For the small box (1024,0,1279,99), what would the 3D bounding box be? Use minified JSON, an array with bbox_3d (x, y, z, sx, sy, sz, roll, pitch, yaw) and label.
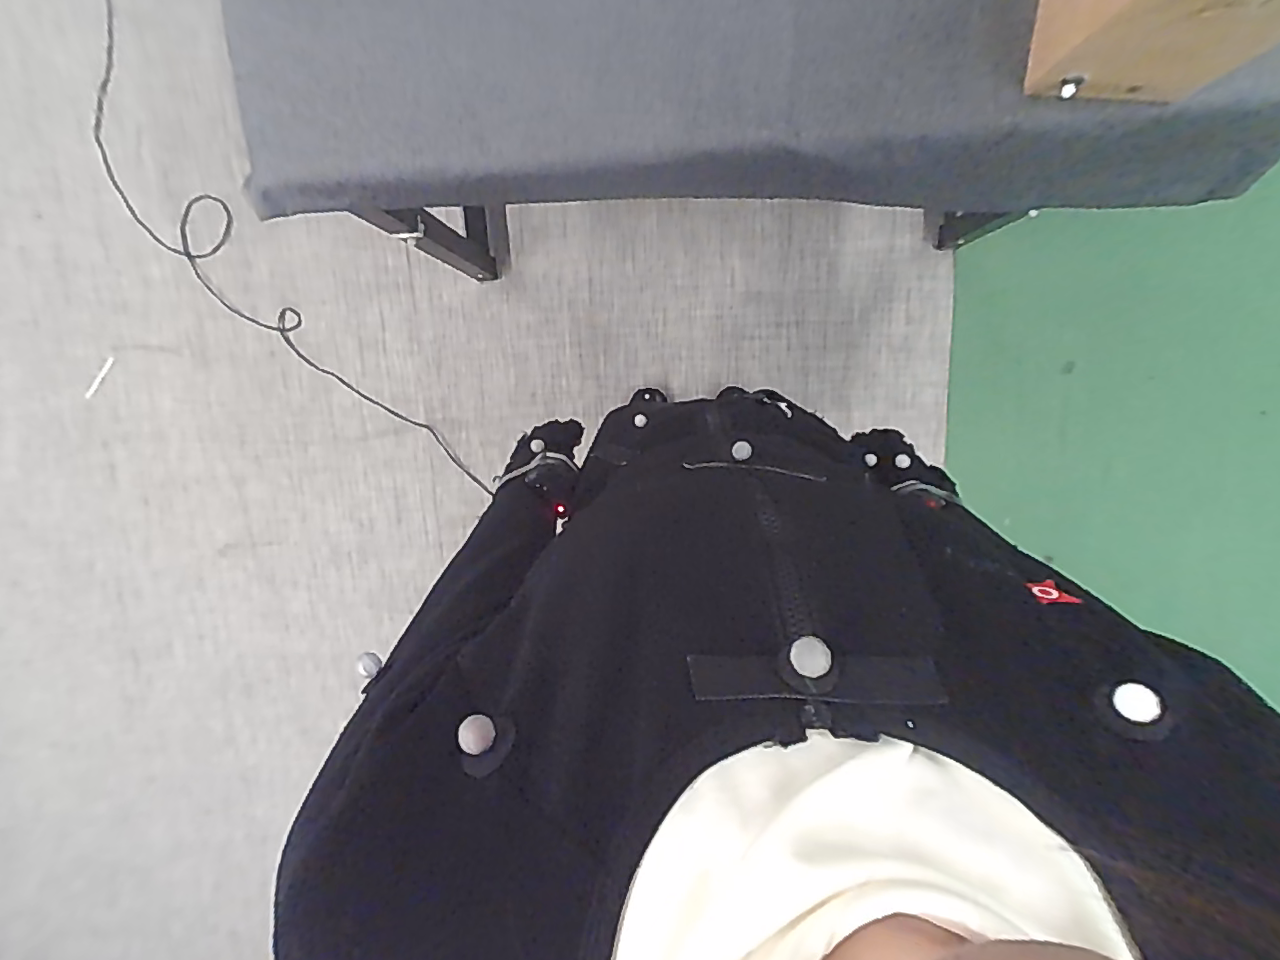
[{"bbox_3d":[0.505,-0.496,0.508,0.168,0.176,0.179,5,99,2],"label":"small box"}]
